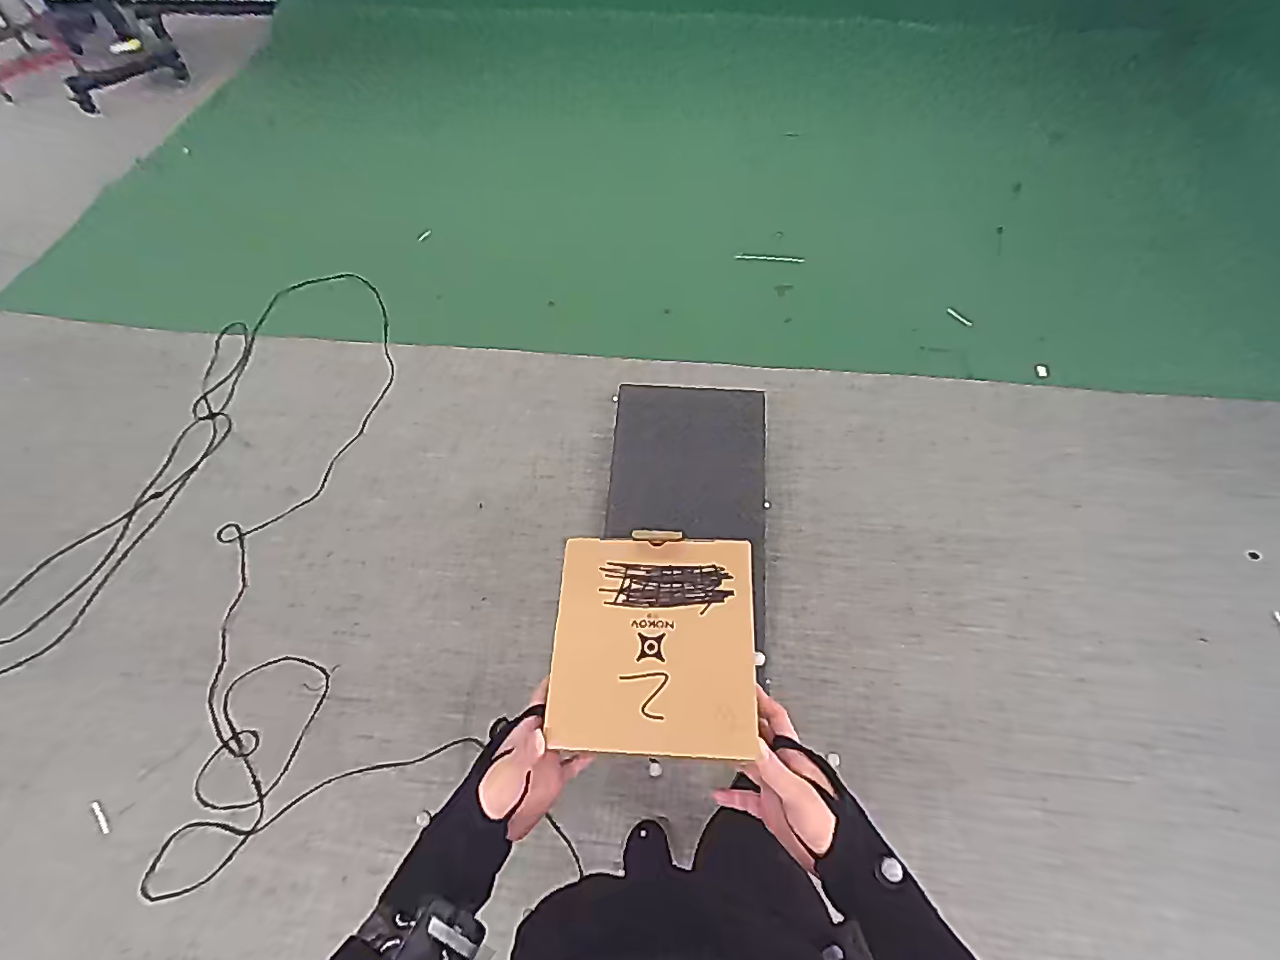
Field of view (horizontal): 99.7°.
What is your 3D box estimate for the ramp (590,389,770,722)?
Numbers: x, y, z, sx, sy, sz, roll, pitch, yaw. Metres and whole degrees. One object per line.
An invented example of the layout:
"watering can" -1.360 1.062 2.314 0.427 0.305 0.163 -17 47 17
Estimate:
"ramp" 0.143 0.172 1.633 0.509 0.206 0.991 3 59 2
